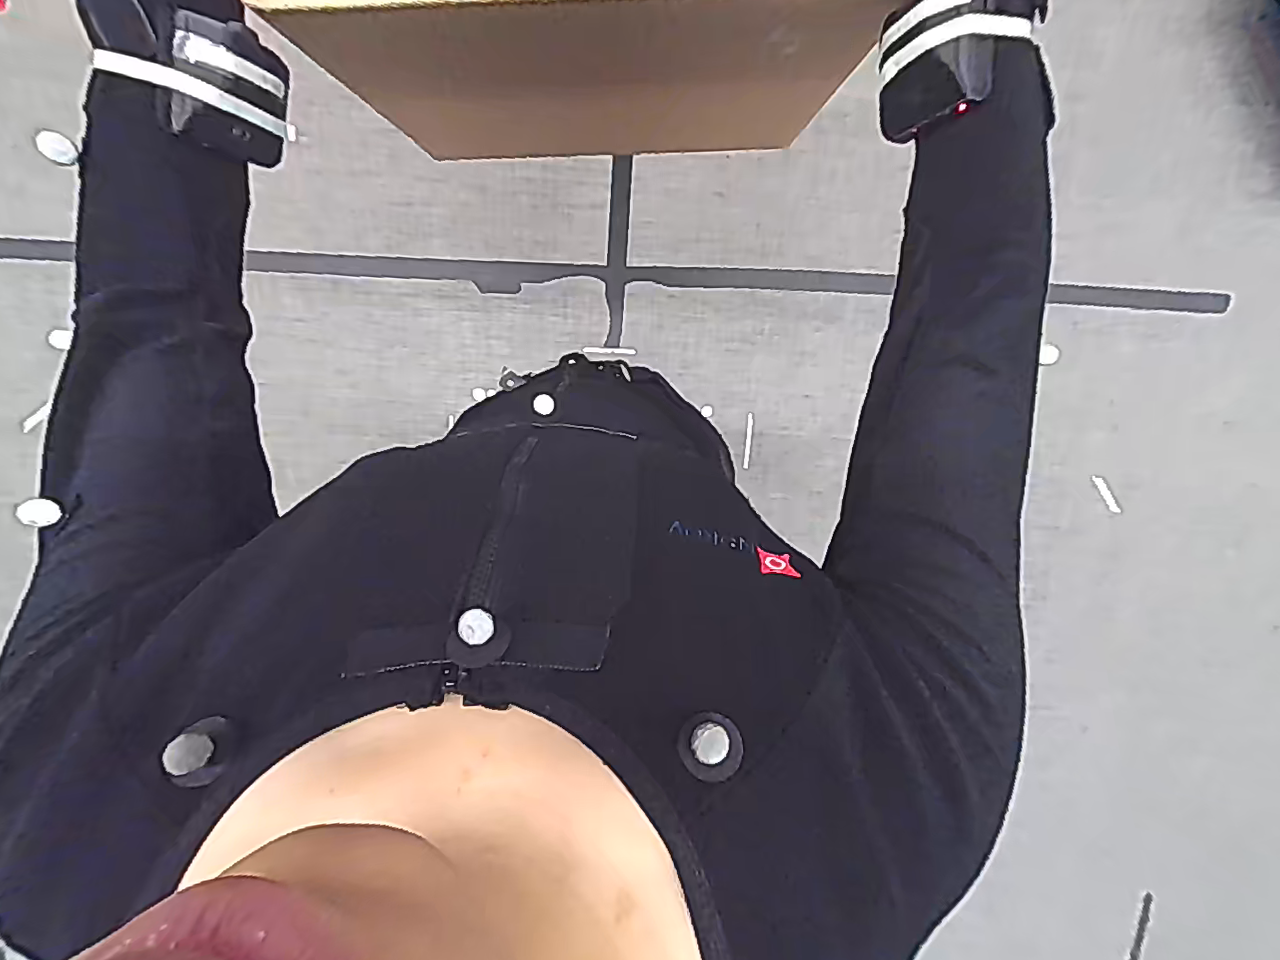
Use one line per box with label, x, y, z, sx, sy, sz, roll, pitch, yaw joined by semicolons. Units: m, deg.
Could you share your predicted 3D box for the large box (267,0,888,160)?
large box;-0.040;-0.478;0.427;0.408;0.320;0.320;-2;106;0
